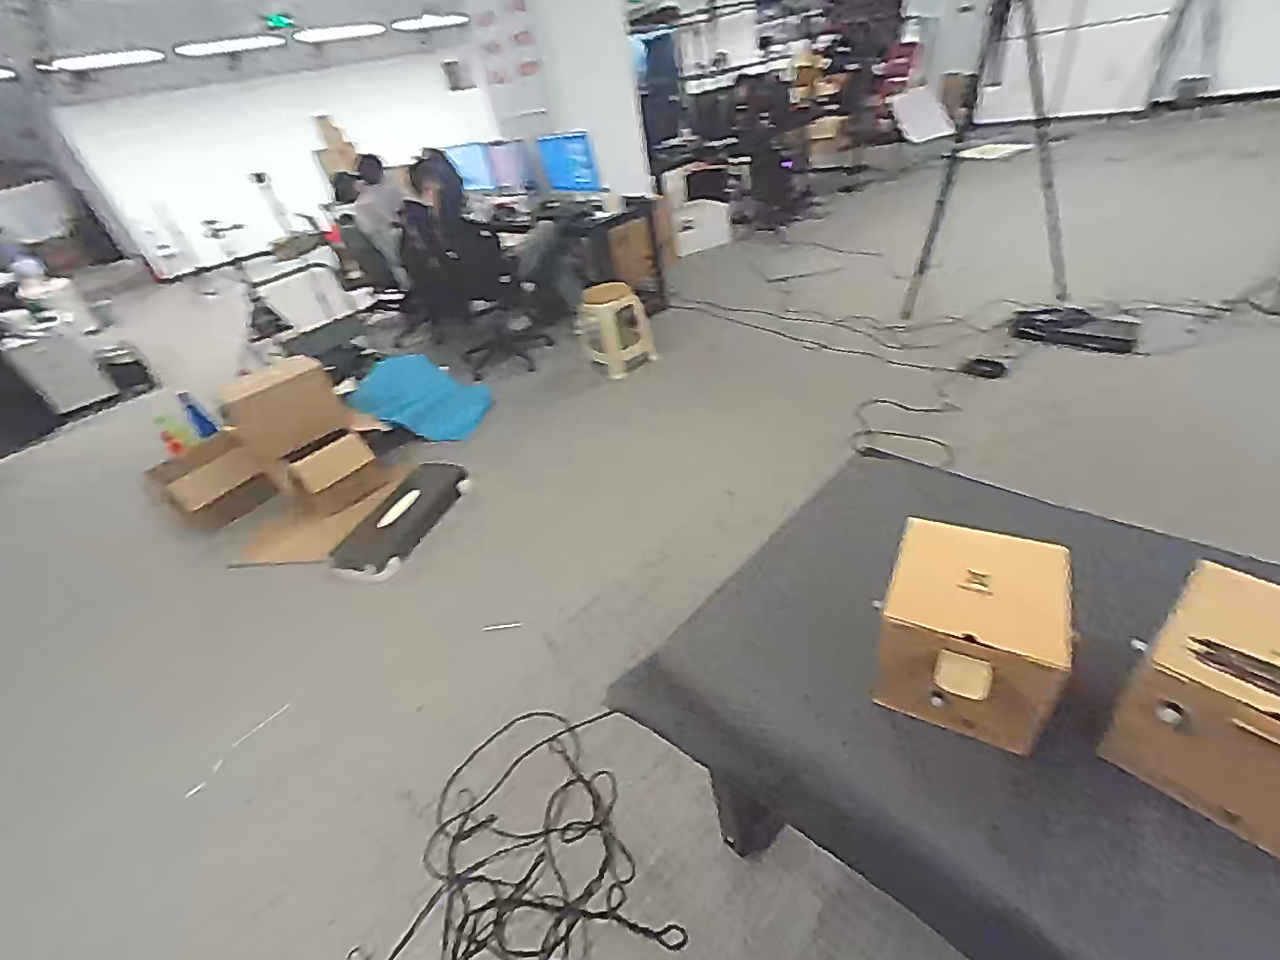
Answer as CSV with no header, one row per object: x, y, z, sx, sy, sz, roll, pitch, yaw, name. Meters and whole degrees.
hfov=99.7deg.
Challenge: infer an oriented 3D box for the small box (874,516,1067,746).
0.389,0.175,0.651,0.168,0.176,0.179,12,42,29,small box
